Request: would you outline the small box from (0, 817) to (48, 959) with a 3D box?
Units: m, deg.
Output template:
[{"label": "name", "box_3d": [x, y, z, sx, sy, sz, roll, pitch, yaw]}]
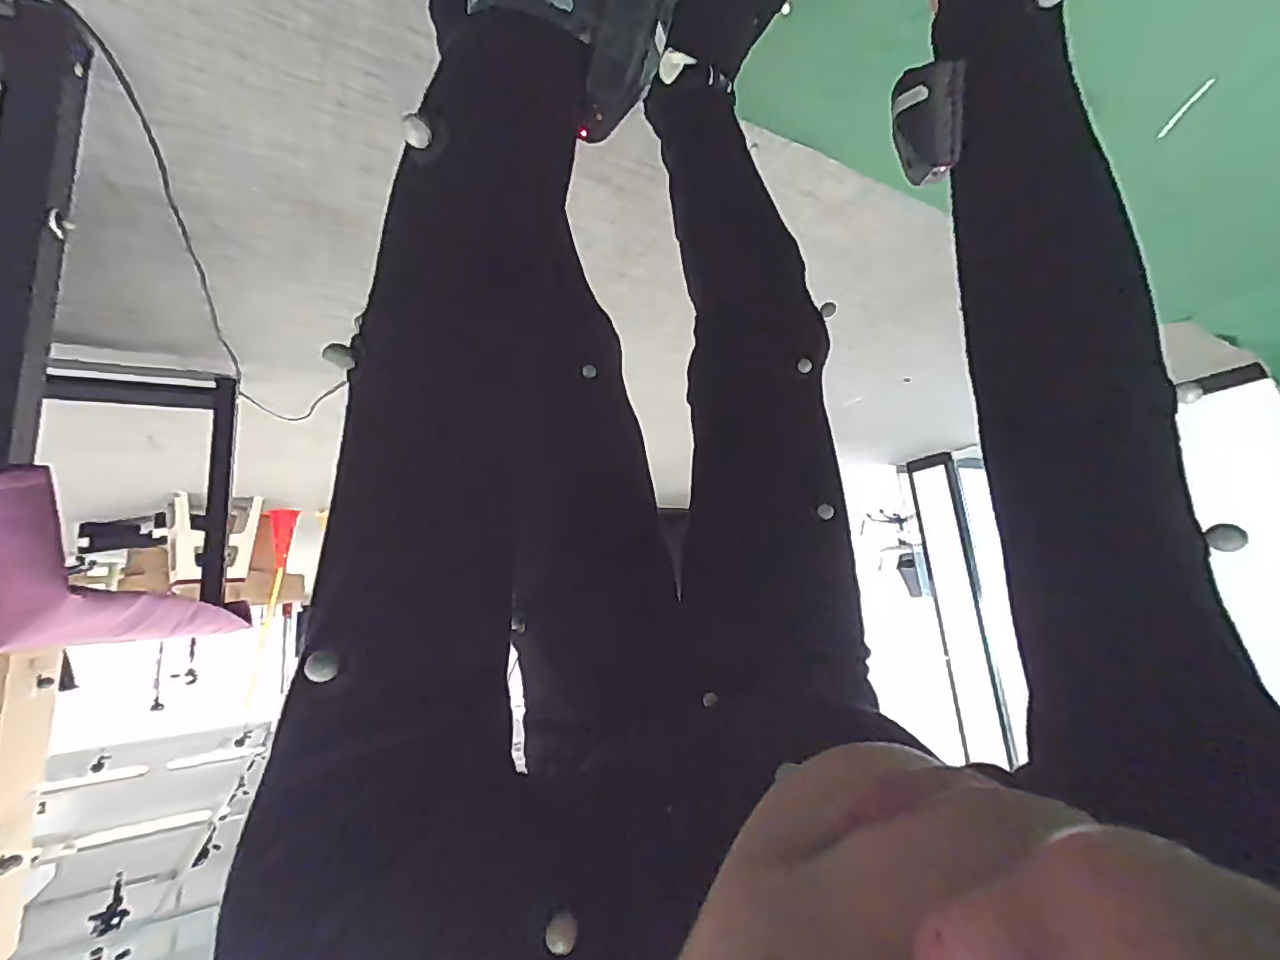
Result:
[{"label": "small box", "box_3d": [-0.719, 0.438, 0.503, 0.179, 0.176, 0.168, 5, 164, -29]}]
